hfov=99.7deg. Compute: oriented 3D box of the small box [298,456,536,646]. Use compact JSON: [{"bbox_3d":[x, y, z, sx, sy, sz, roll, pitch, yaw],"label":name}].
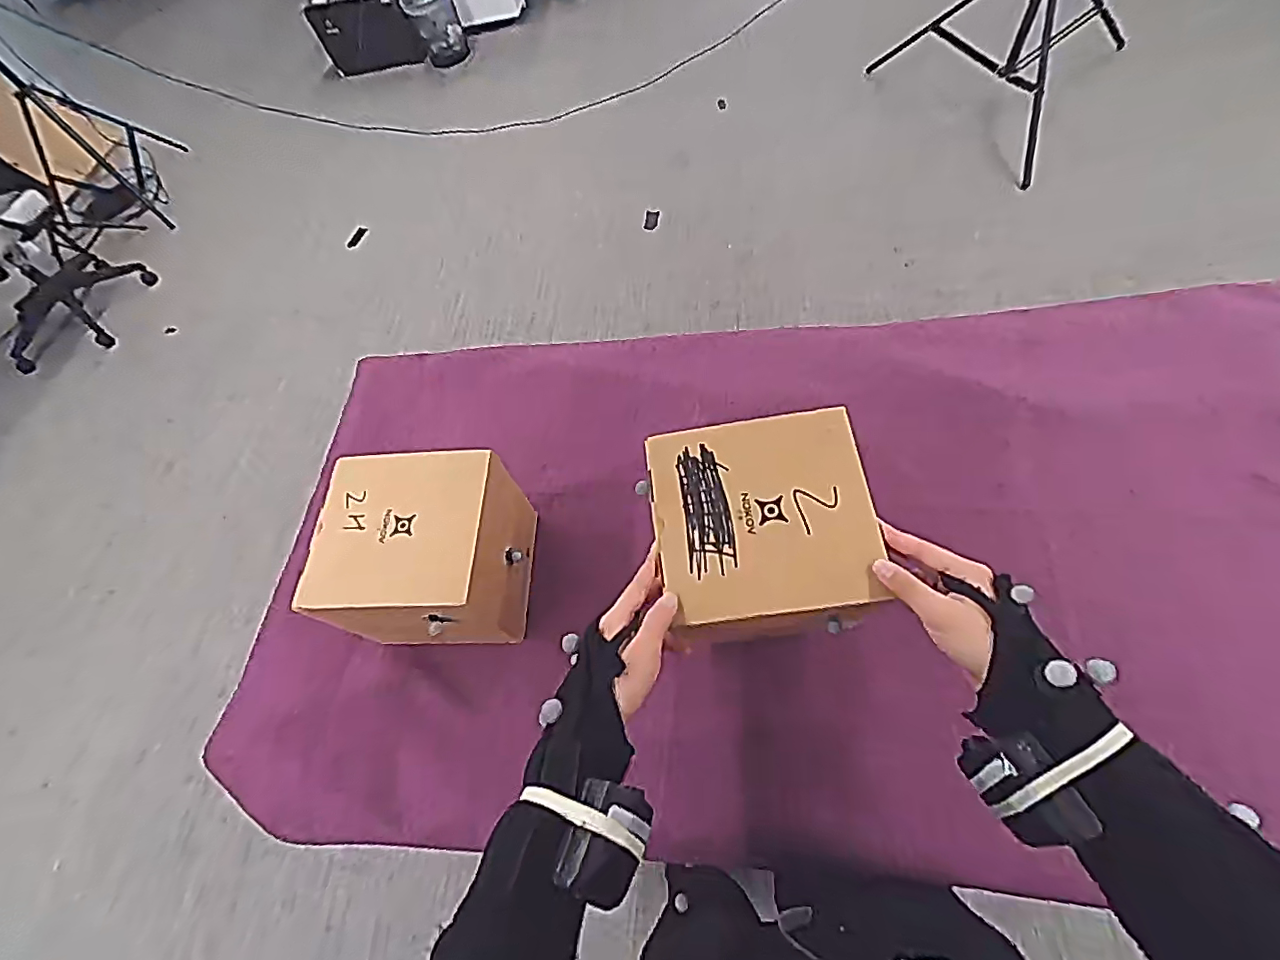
[{"bbox_3d":[-0.227,0.086,0.609,0.179,0.176,0.168,-2,61,7],"label":"small box"}]
